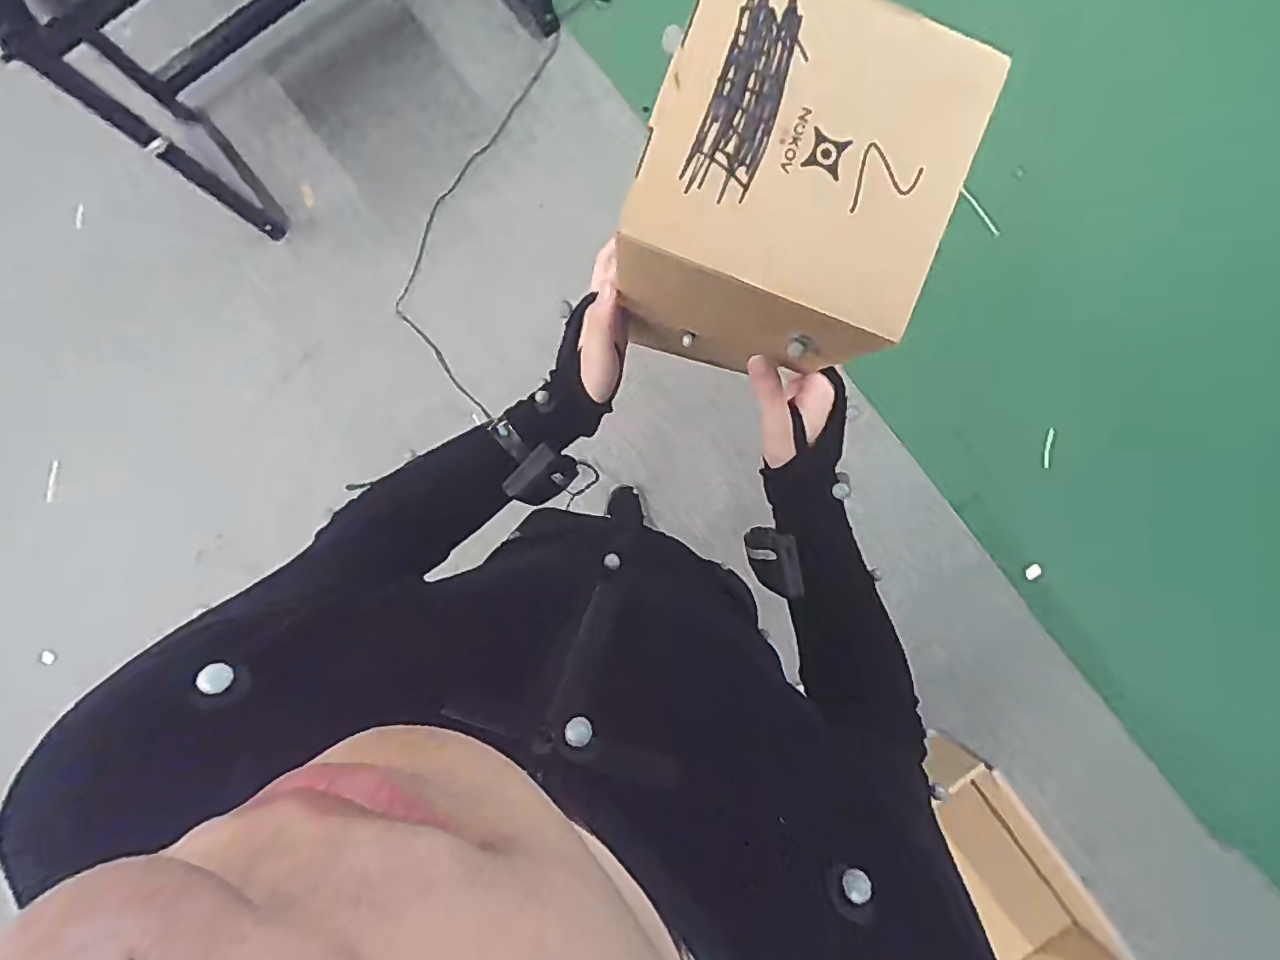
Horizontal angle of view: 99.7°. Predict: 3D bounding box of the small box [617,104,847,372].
[{"bbox_3d":[0.076,-0.220,0.543,0.168,0.176,0.179,14,94,-2],"label":"small box"}]
